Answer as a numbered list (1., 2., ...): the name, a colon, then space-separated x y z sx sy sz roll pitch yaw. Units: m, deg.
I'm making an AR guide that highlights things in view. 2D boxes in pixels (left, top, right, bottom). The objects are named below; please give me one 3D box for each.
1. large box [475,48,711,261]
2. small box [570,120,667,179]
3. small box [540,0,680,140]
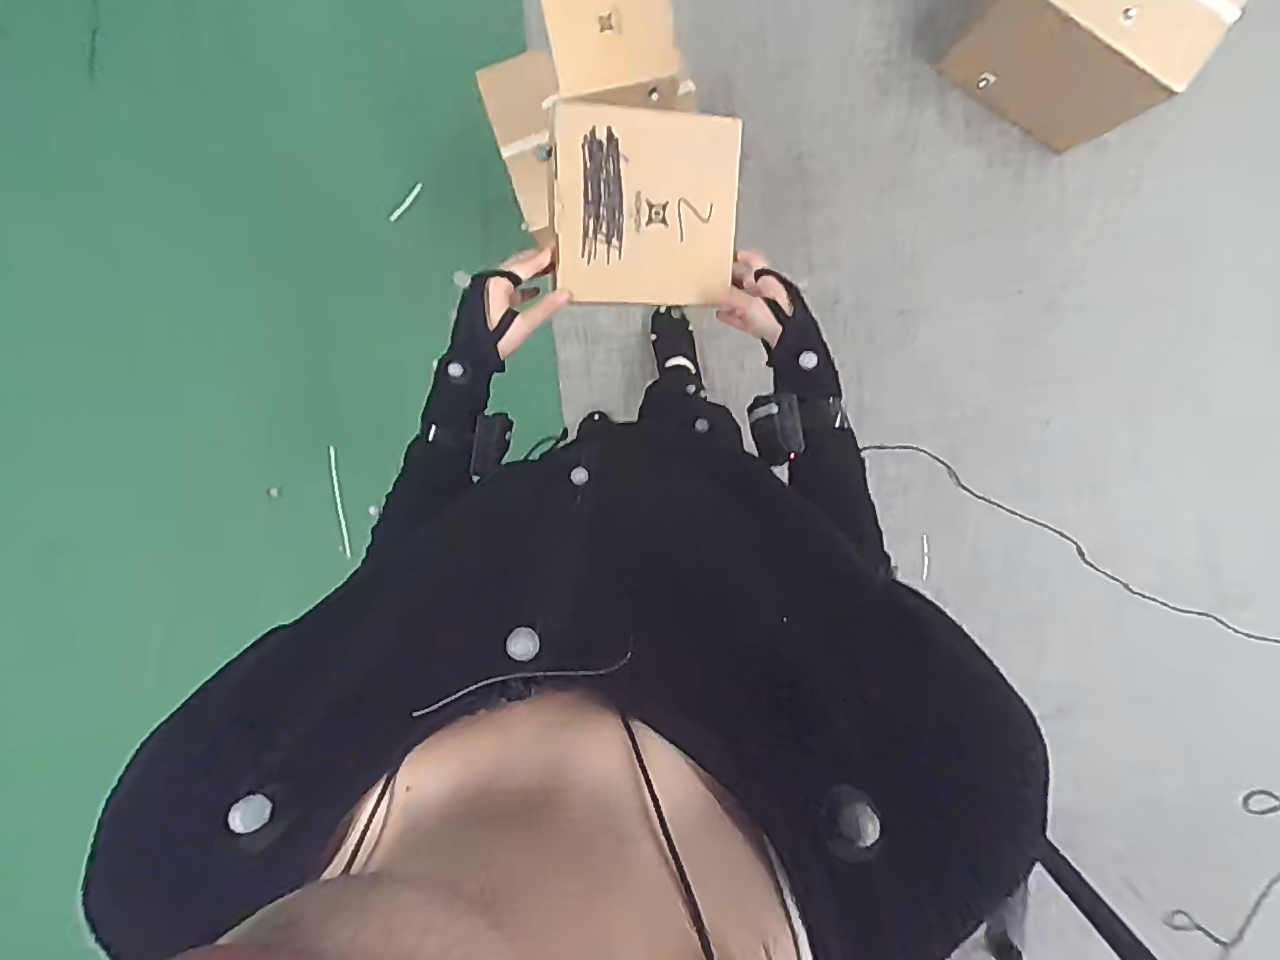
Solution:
1. large box: -0.089 -0.737 1.218 0.408 0.320 0.320 -18 99 3
2. small box: -0.050 -0.671 0.980 0.168 0.176 0.179 -13 101 1
3. small box: -0.044 -0.648 0.819 0.179 0.176 0.168 -12 101 0
